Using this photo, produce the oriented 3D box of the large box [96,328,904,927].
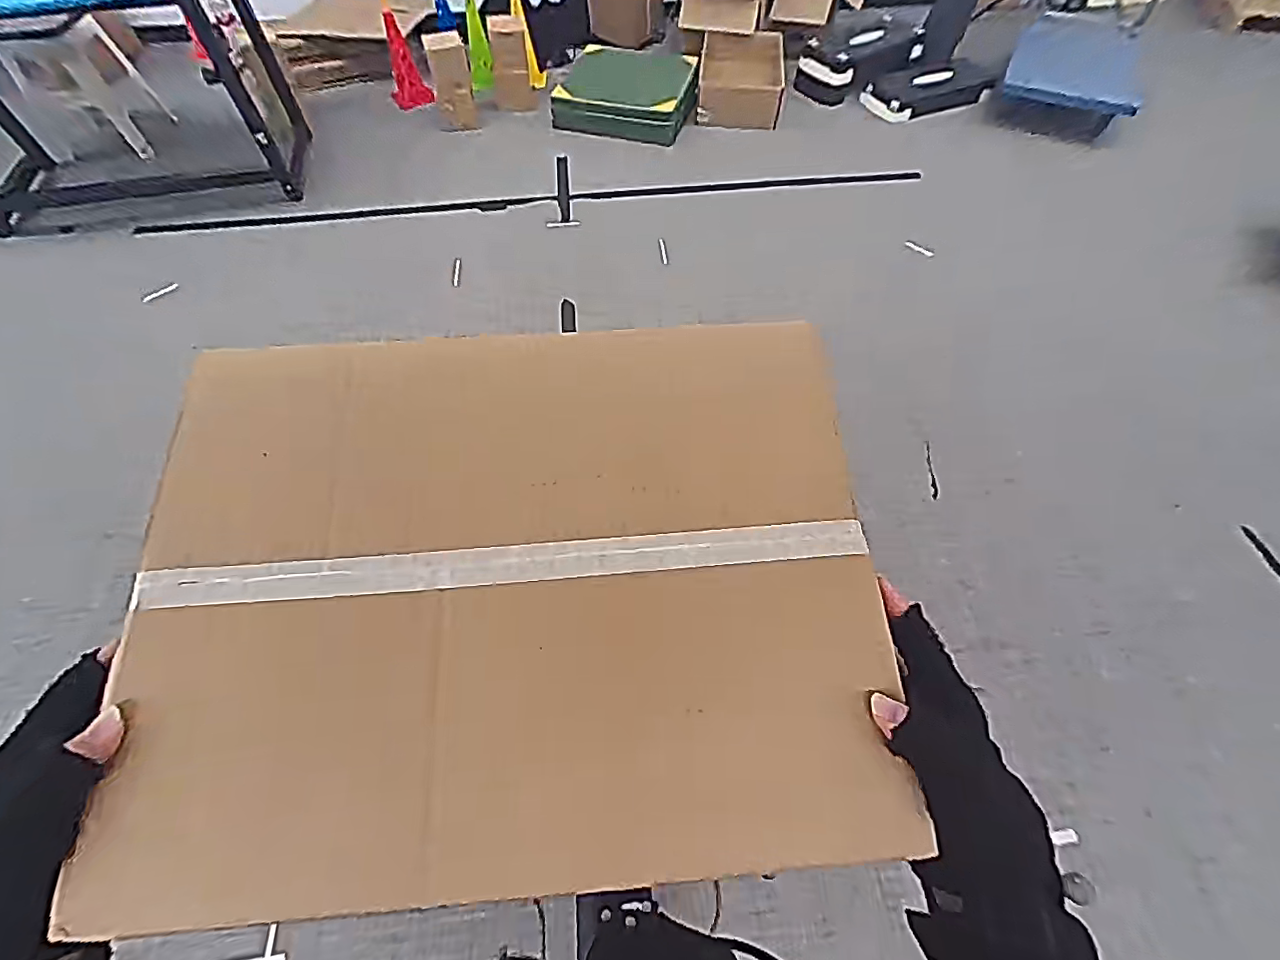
[{"bbox_3d":[-0.075,0.104,0.455,0.408,0.320,0.320,-4,68,-2],"label":"large box"}]
